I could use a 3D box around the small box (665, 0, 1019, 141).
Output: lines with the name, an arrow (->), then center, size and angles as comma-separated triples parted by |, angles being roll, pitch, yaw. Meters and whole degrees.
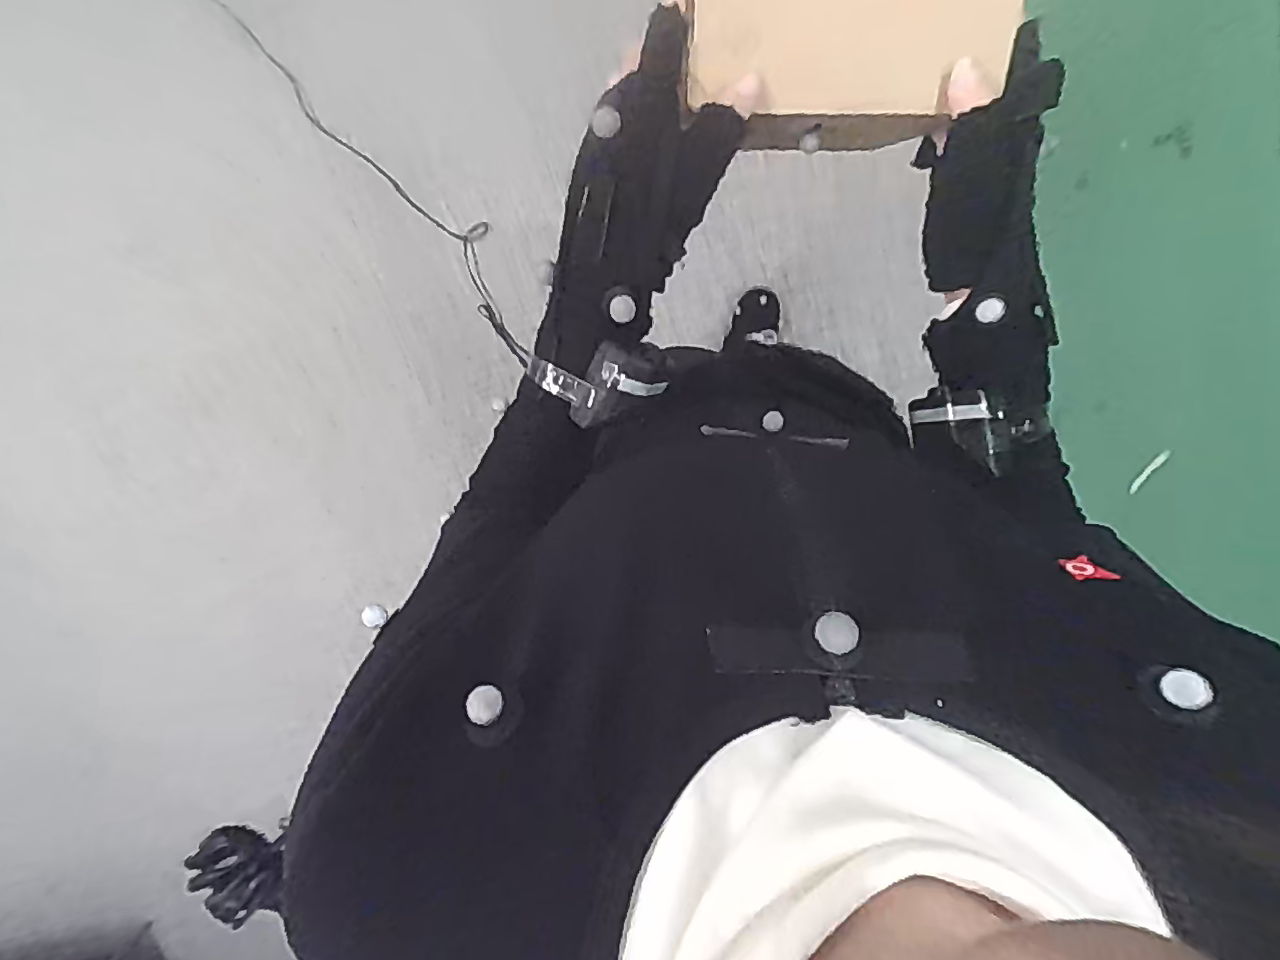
small box -> 0.108, -0.317, 0.335 | 0.179, 0.176, 0.168 | -3, 116, -2
